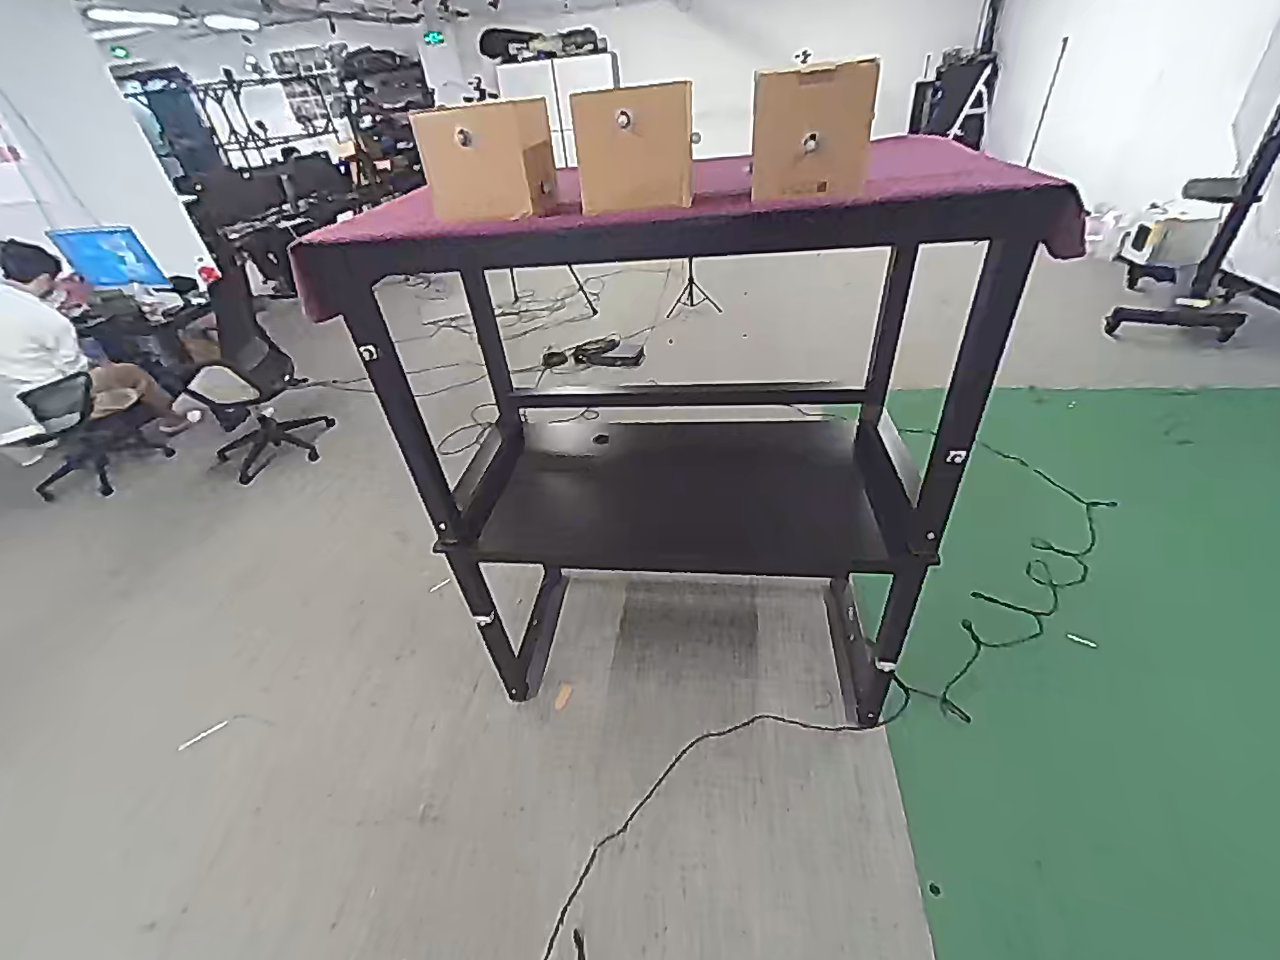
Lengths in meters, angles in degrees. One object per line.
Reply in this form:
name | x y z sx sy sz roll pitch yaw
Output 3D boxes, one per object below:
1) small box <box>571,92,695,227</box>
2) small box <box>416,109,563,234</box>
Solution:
small box | 0.000 -0.533 0.902 0.179 0.176 0.168 -1 35 9
small box | -0.250 -0.535 0.943 0.179 0.176 0.168 2 37 11
